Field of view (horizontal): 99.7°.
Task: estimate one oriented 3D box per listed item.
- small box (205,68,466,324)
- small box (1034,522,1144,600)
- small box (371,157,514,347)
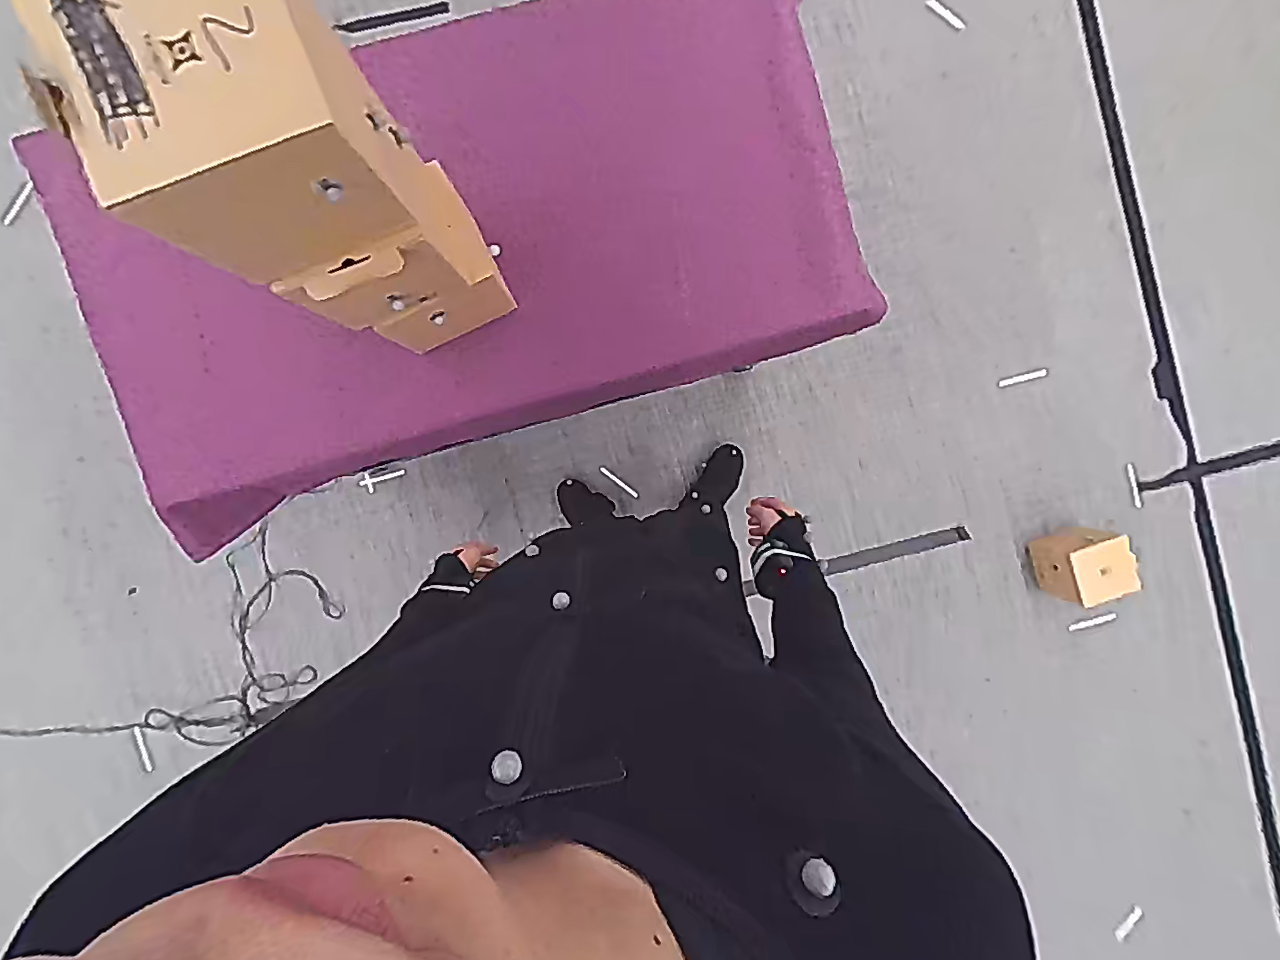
[{"bbox_3d":[-0.323,-0.301,0.613,0.168,0.176,0.179,-21,94,0],"label":"small box"},{"bbox_3d":[1.309,0.233,1.594,0.179,0.176,0.168,-19,94,-1],"label":"small box"},{"bbox_3d":[-0.305,-0.311,0.778,0.179,0.176,0.168,-26,94,-1],"label":"small box"}]
